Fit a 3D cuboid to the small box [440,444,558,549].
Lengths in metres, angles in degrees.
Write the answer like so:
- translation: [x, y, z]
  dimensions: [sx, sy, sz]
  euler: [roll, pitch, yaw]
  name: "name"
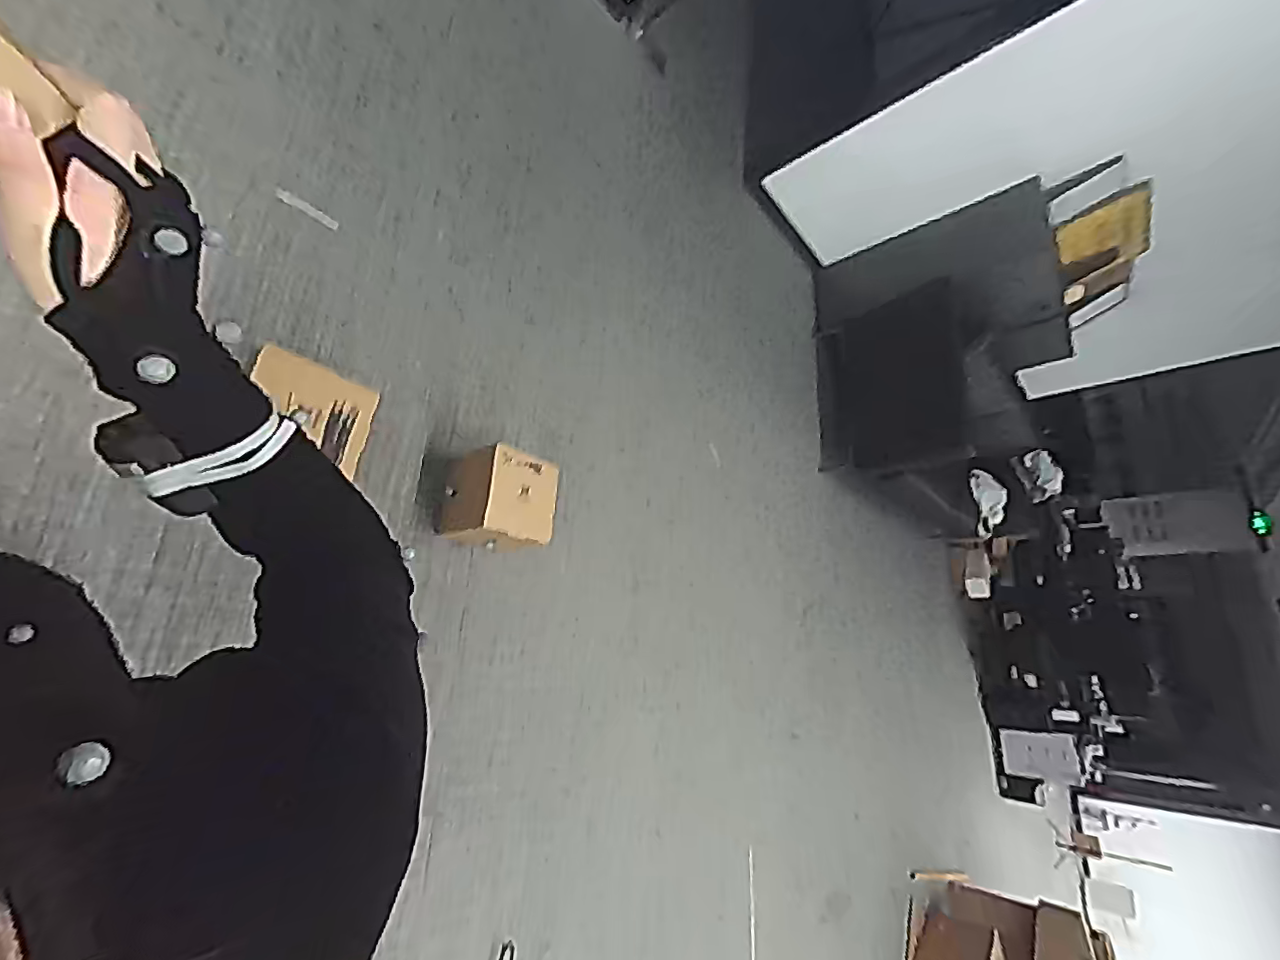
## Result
- translation: [-0.299, 0.045, 1.144]
  dimensions: [0.168, 0.176, 0.179]
  euler: [25, 62, -45]
  name: "small box"
